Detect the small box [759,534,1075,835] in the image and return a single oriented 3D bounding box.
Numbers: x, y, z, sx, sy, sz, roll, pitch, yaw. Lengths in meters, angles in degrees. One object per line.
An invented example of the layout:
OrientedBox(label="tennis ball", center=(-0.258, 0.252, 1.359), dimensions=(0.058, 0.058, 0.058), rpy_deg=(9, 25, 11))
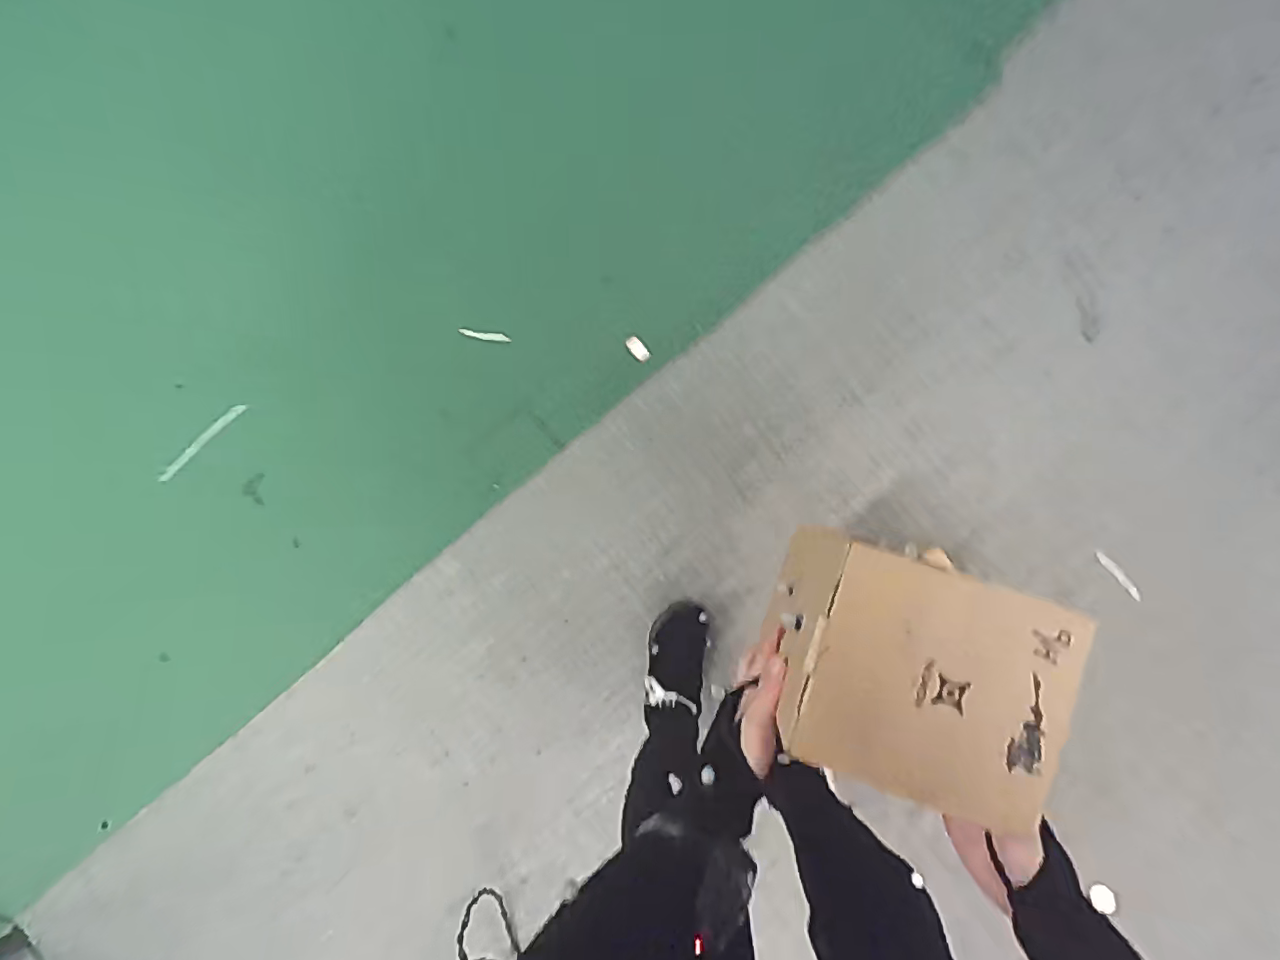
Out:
OrientedBox(label="small box", center=(0.210, 0.150, 0.465), dimensions=(0.179, 0.176, 0.168), rpy_deg=(17, 88, 9))

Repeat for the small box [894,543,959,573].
OrientedBox(label="small box", center=(0.513, 0.236, 1.013), dimensions=(0.179, 0.176, 0.168), rpy_deg=(-38, 82, 7))
